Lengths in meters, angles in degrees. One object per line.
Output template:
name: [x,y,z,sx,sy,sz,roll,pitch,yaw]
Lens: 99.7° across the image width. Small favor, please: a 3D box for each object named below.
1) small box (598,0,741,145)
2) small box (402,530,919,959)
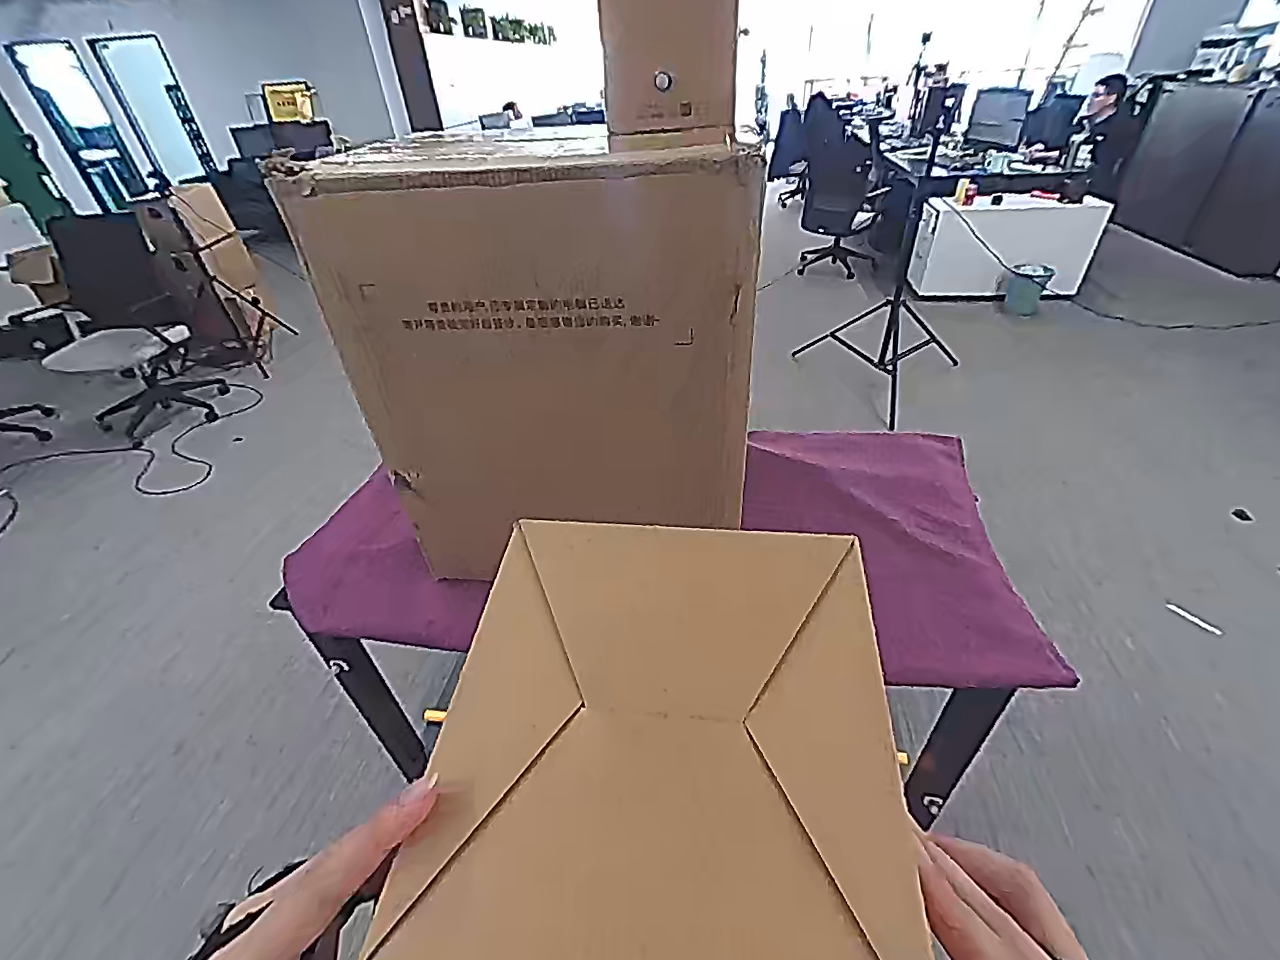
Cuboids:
small box: [0.045,-0.547,0.712,0.168,0.176,0.179,2,37,10]
small box: [0.017,0.145,0.265,0.168,0.176,0.179,2,47,8]
